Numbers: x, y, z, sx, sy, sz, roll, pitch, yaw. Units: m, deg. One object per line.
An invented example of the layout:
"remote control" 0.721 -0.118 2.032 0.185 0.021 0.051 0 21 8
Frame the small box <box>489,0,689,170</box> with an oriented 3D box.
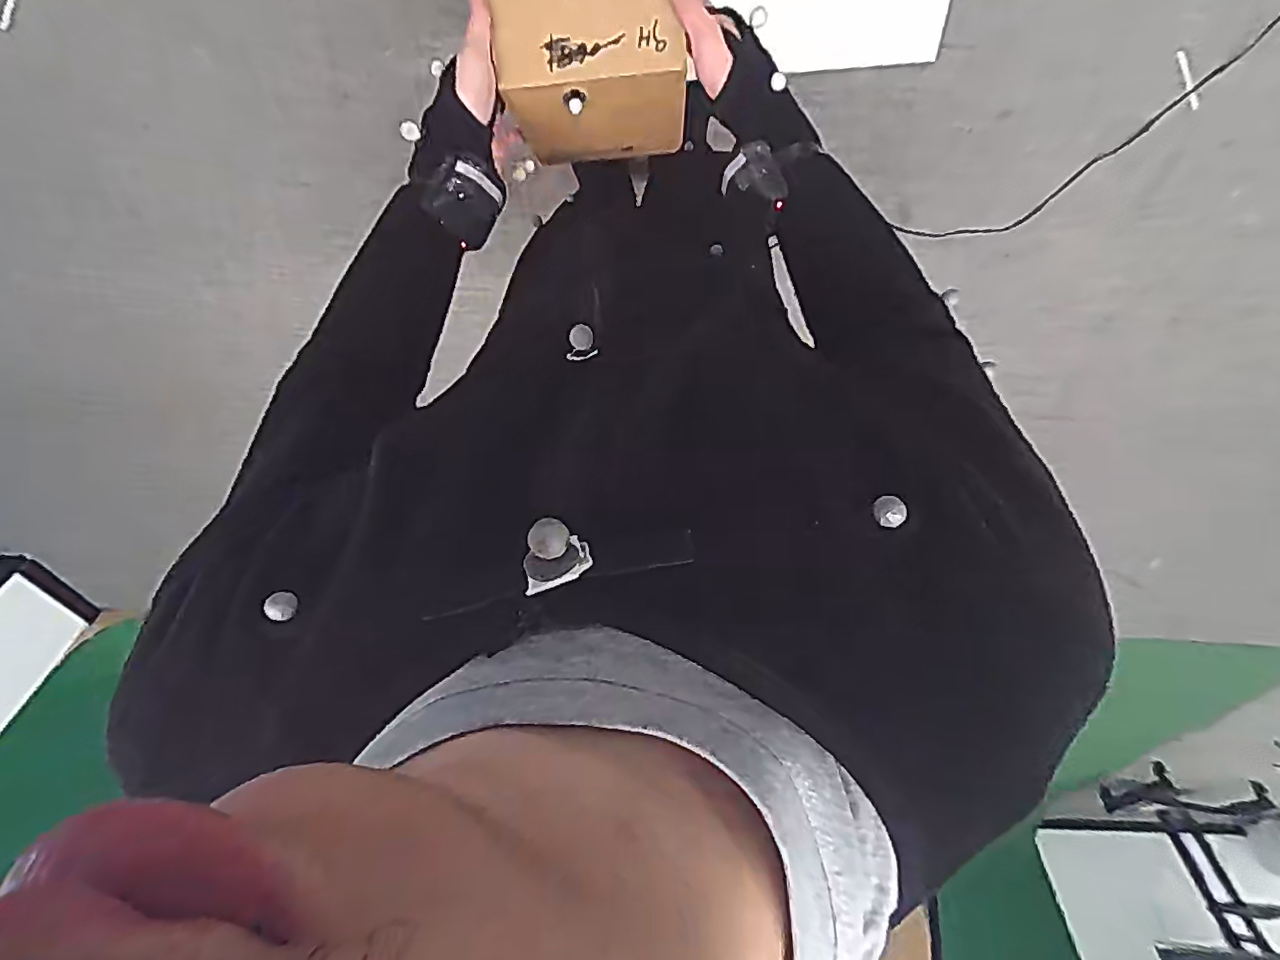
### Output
"small box" -0.044 -0.434 0.525 0.168 0.176 0.179 -5 100 3
